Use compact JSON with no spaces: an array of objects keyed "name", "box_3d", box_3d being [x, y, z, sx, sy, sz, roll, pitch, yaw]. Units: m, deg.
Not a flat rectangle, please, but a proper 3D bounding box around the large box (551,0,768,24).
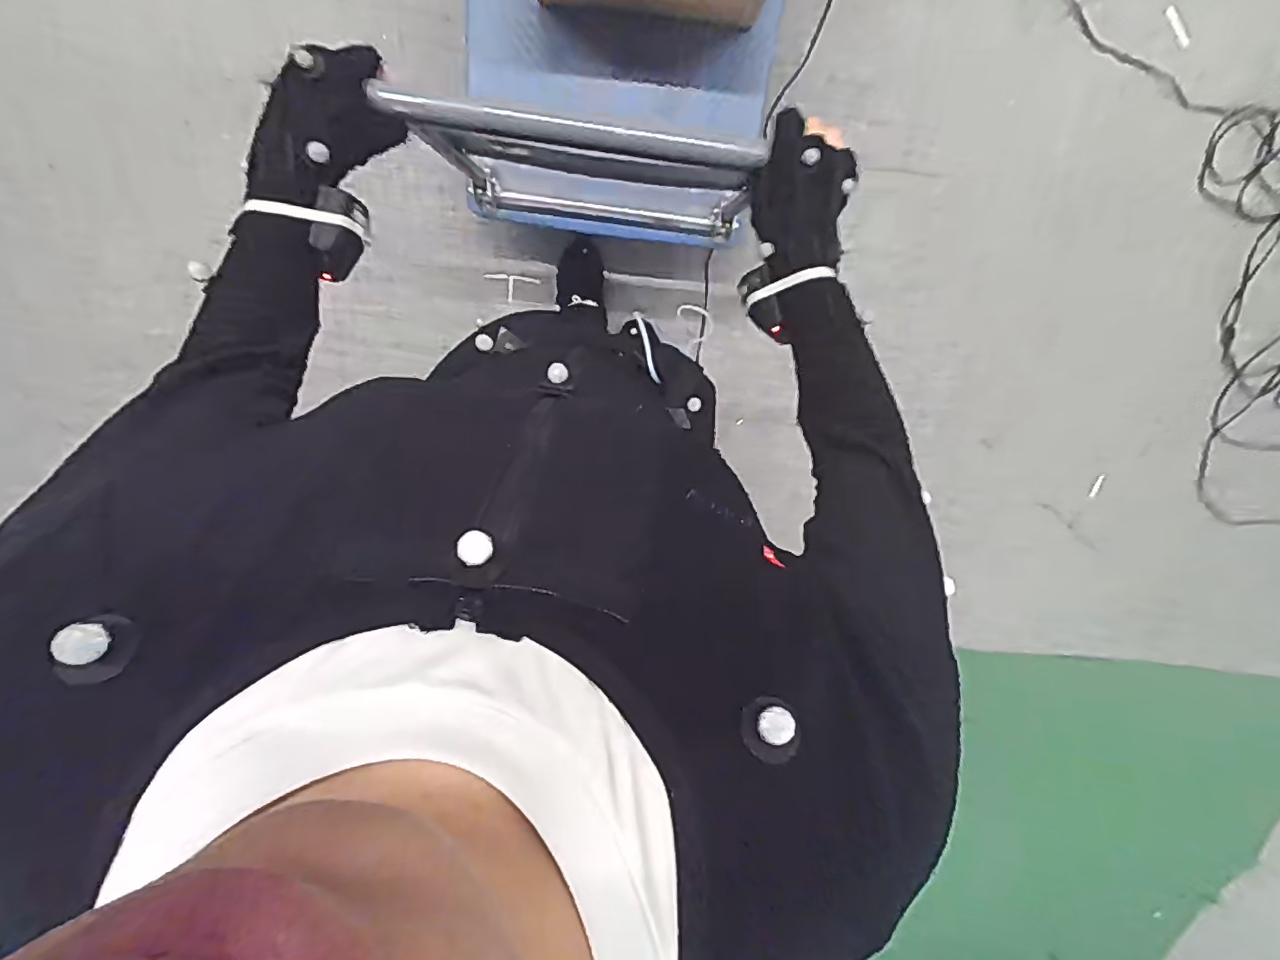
[{"name":"large box","box_3d":[0.034,-0.945,0.809,0.408,0.320,0.320,5,112,-3]}]
